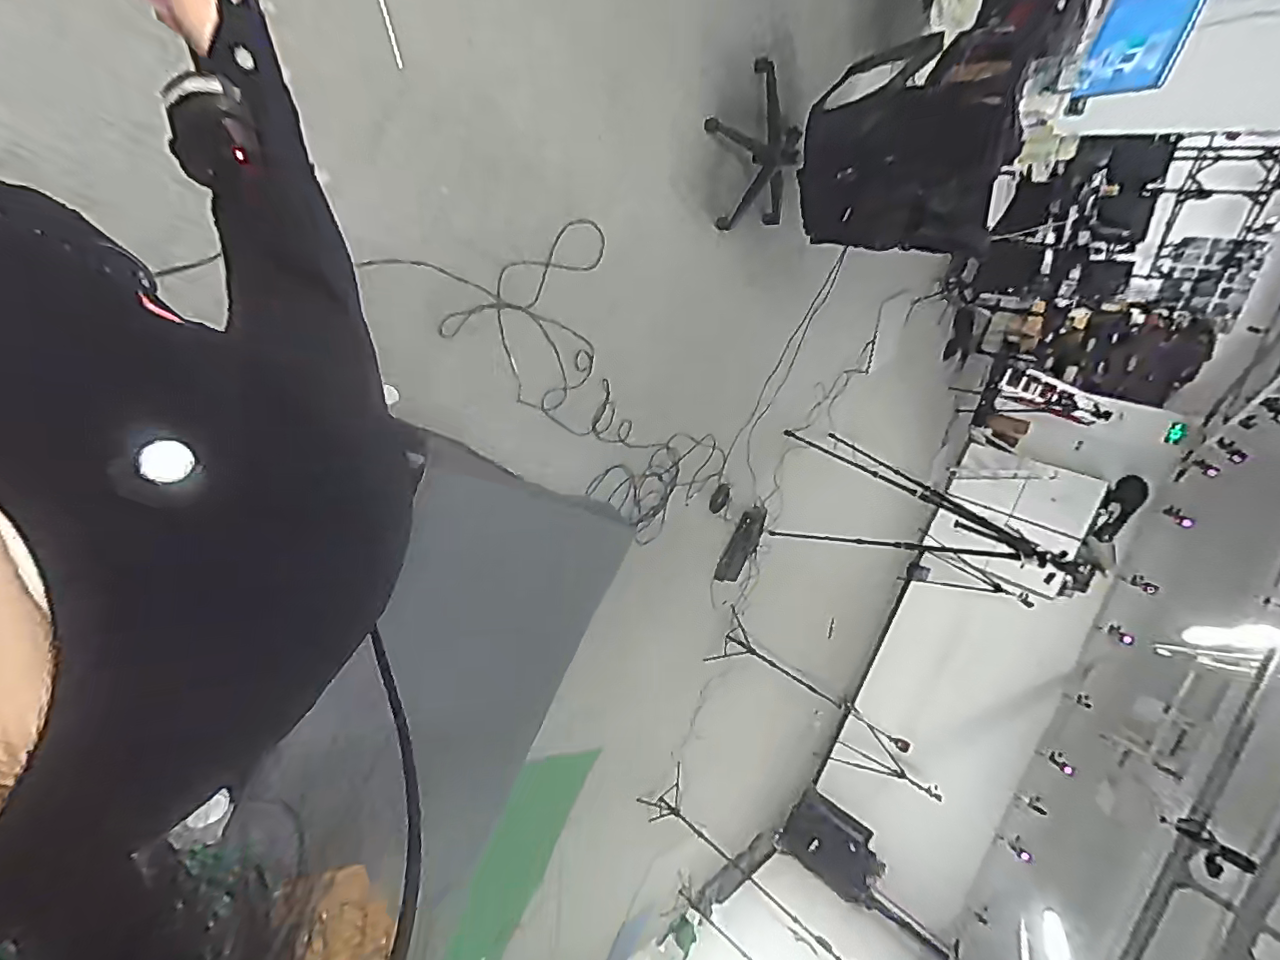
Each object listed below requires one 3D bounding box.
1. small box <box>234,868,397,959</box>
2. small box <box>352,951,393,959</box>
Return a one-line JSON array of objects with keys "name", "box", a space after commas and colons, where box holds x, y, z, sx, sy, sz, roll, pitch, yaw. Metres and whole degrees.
[{"name": "small box", "box": [-0.571, 0.823, 0.943, 0.168, 0.176, 0.179, 31, 86, -55]}, {"name": "small box", "box": [-0.463, 0.886, 0.835, 0.168, 0.176, 0.179, 36, 81, -54]}]
